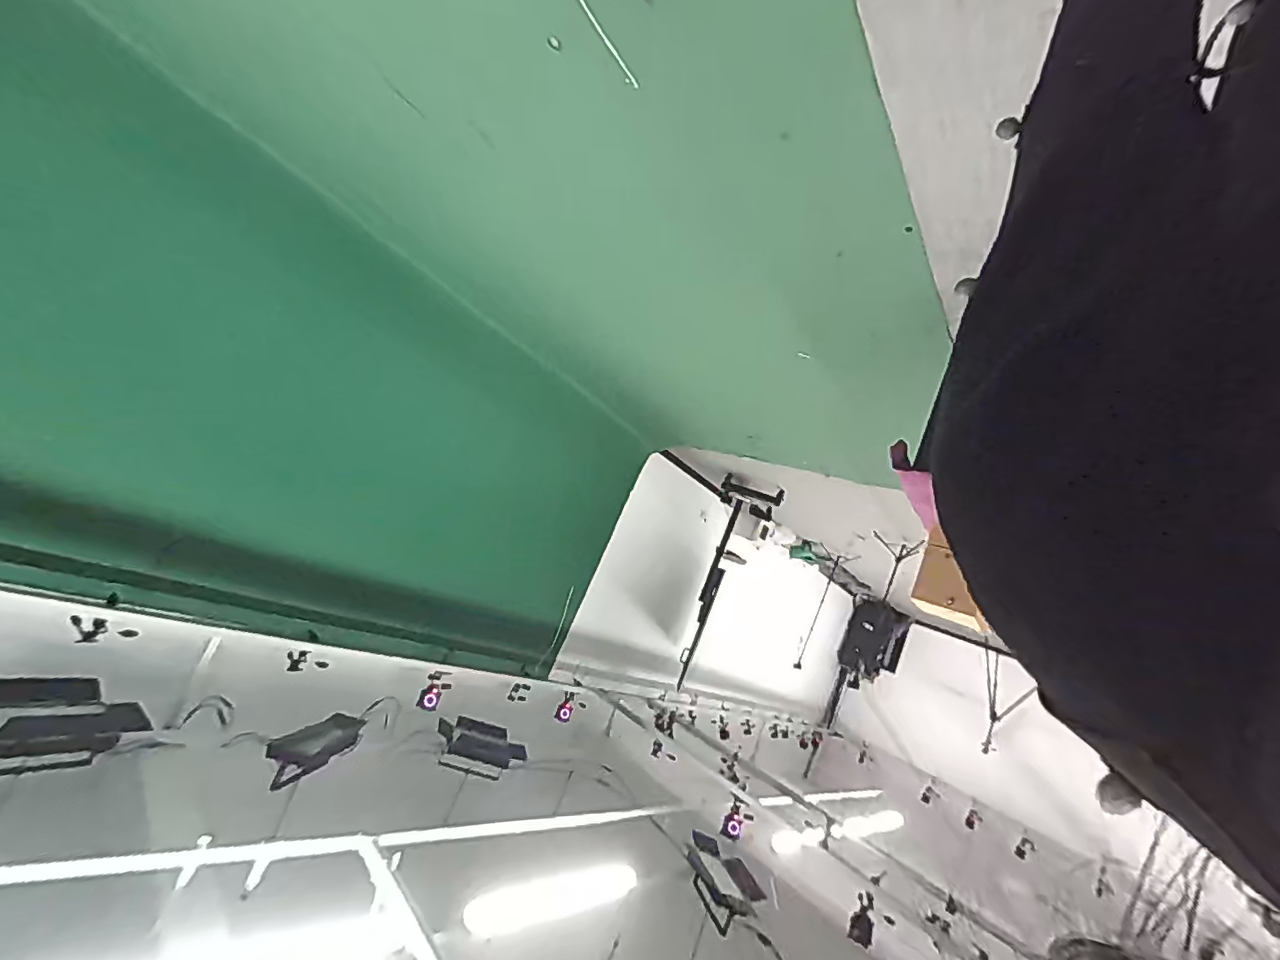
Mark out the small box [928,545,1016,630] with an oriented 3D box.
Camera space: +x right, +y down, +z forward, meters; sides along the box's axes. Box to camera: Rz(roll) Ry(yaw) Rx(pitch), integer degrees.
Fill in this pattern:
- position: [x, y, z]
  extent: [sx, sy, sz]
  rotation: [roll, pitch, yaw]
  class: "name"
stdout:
- position: [0.941, 0.301, 1.525]
  extent: [0.168, 0.176, 0.179]
  rotation: [13, 166, 44]
  class: "small box"
